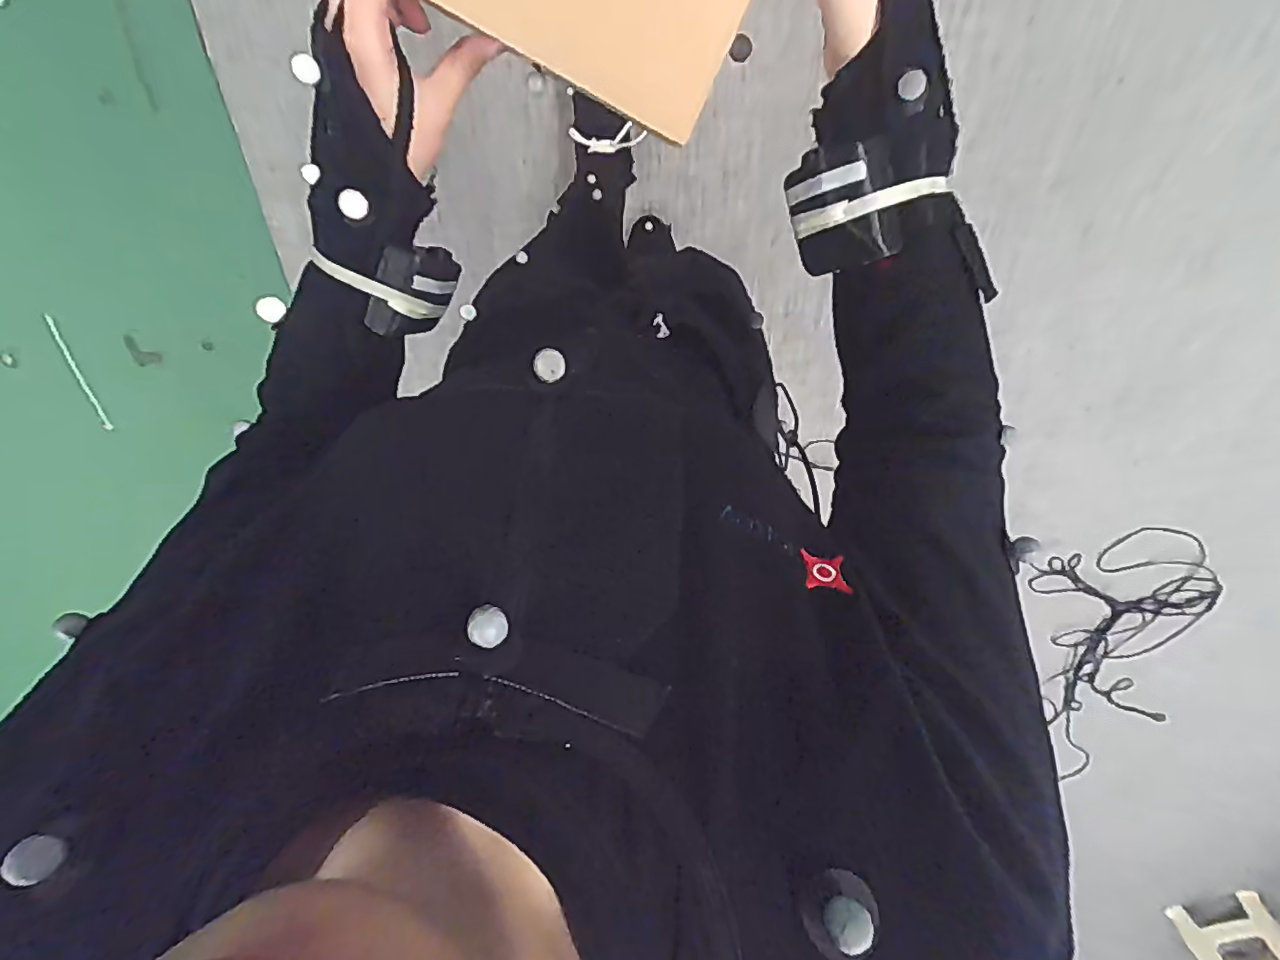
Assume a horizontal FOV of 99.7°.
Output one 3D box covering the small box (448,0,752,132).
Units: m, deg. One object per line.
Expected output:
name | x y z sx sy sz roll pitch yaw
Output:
small box | -0.013 -0.322 0.302 0.179 0.176 0.168 22 121 -13
